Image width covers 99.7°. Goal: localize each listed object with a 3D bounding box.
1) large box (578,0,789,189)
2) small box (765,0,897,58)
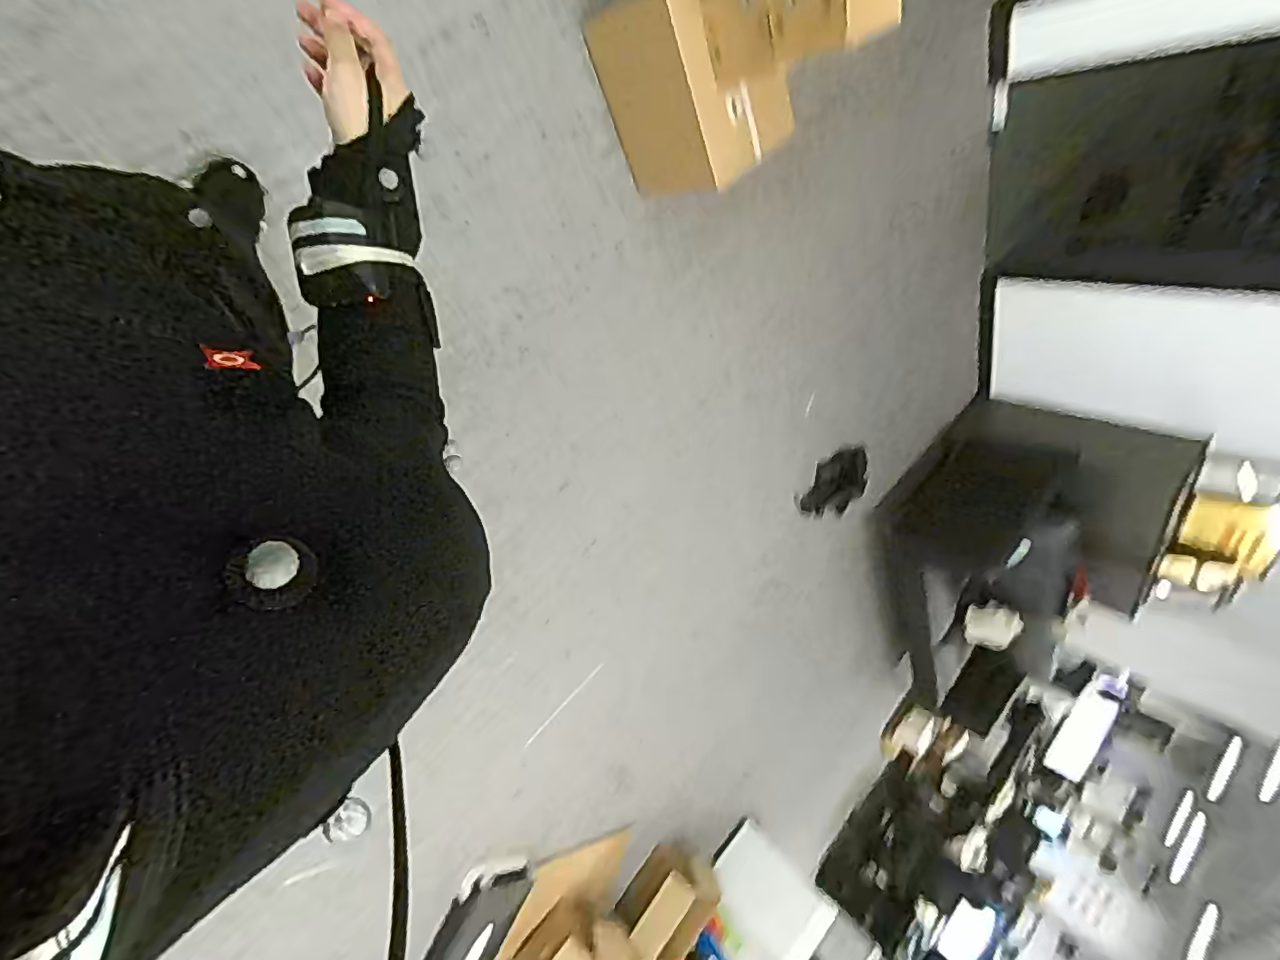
[{"bbox_3d":[0.116,-0.995,1.332,0.320,0.320,0.408,-43,133,-16],"label":"large box"},{"bbox_3d":[0.351,-0.917,1.000,0.179,0.176,0.168,-39,131,-21],"label":"small box"}]
